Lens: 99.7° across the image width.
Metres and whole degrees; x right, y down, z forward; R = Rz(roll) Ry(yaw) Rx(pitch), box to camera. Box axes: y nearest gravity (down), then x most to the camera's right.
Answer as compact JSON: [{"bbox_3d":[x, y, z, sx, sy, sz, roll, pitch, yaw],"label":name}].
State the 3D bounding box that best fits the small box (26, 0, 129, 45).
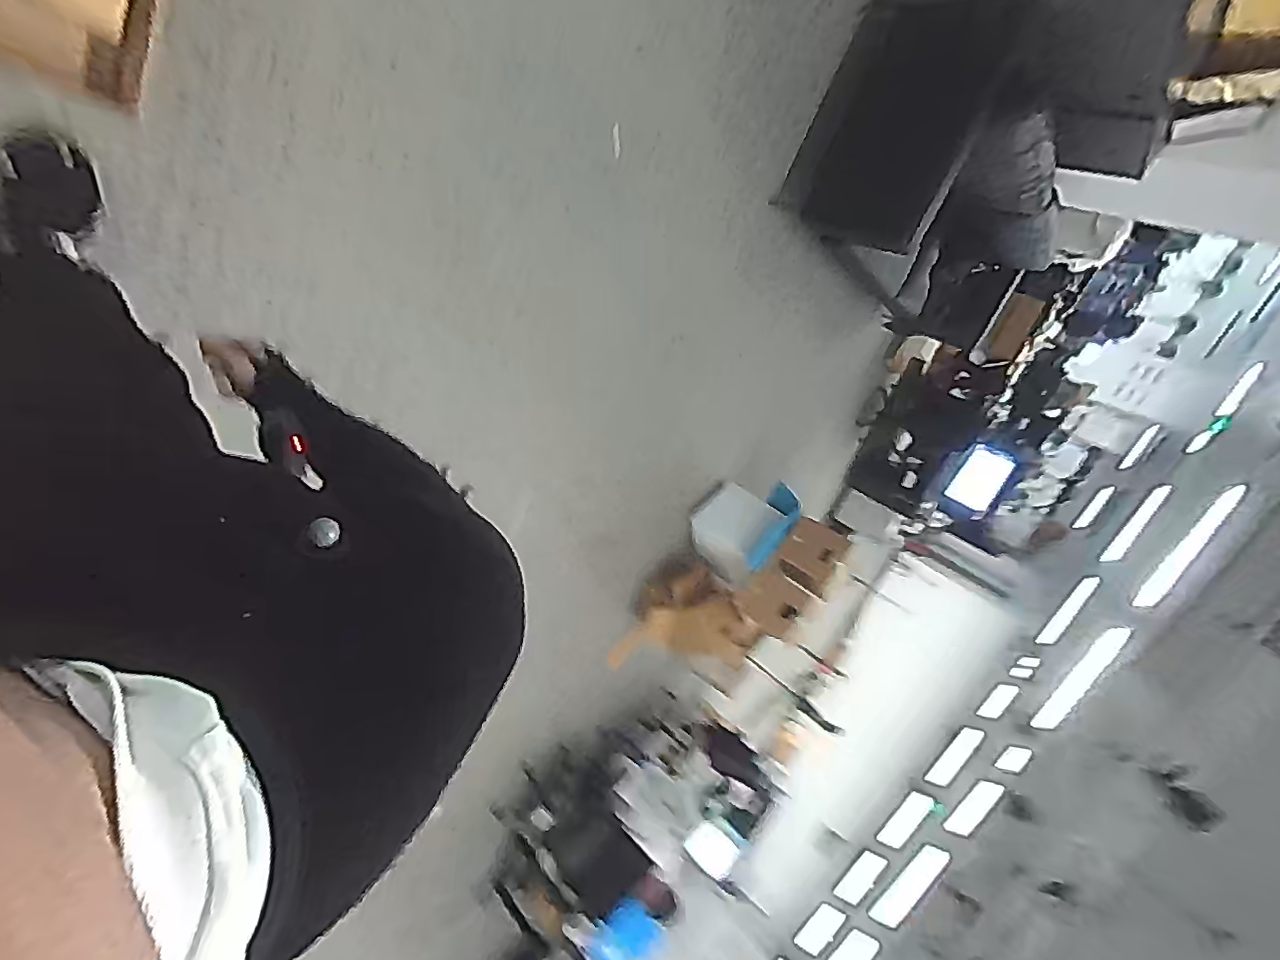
[{"bbox_3d":[-0.769,-0.709,0.687,0.168,0.176,0.179,9,113,-56],"label":"small box"}]
